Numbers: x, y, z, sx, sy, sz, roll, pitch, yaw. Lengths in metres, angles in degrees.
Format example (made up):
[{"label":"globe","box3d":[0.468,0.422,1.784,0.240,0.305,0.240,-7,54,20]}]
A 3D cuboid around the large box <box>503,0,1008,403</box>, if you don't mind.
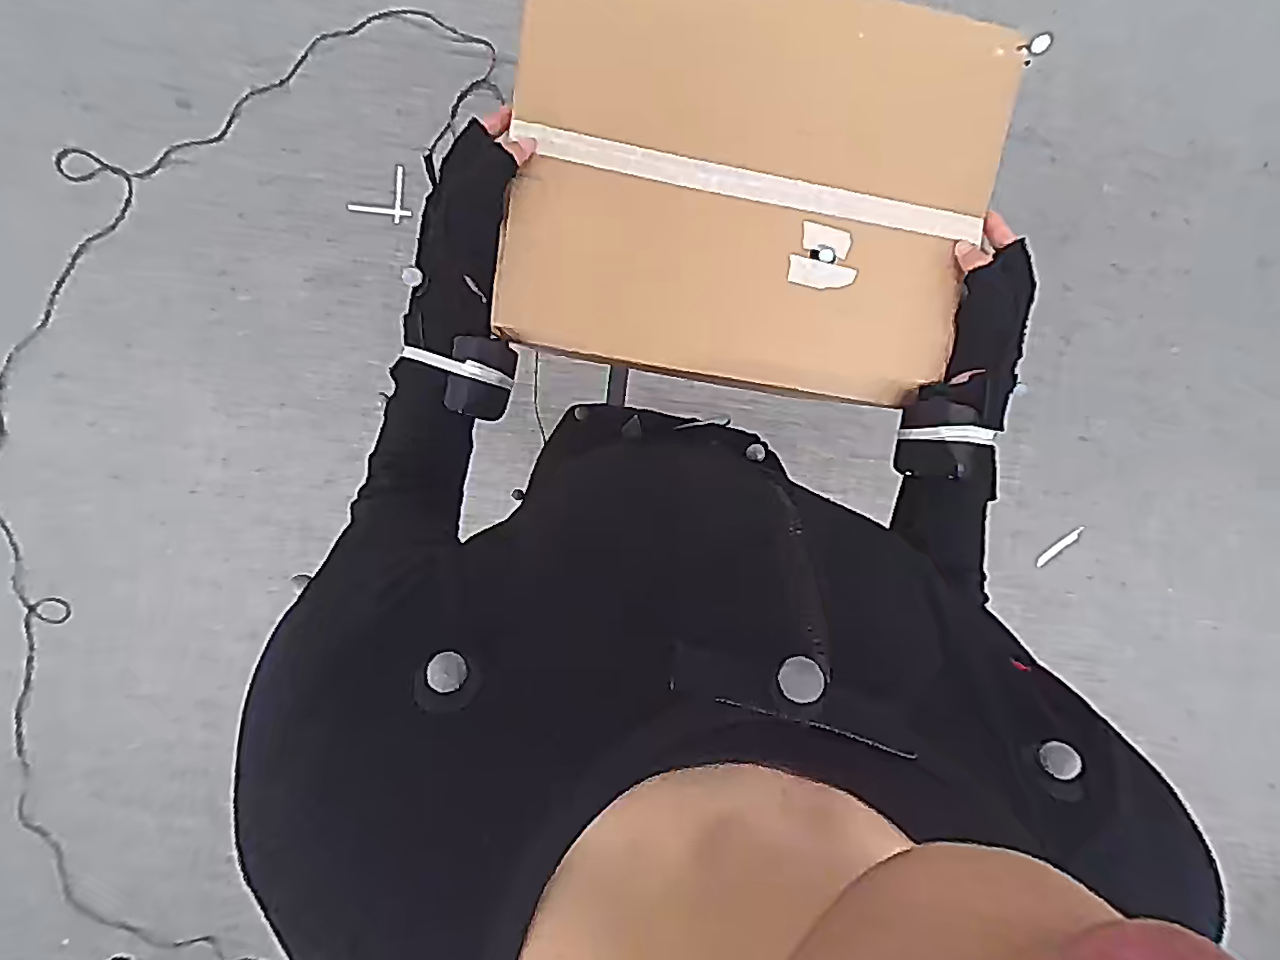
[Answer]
[{"label":"large box","box3d":[0.082,-0.275,0.608,0.408,0.320,0.320,8,102,-7]}]
